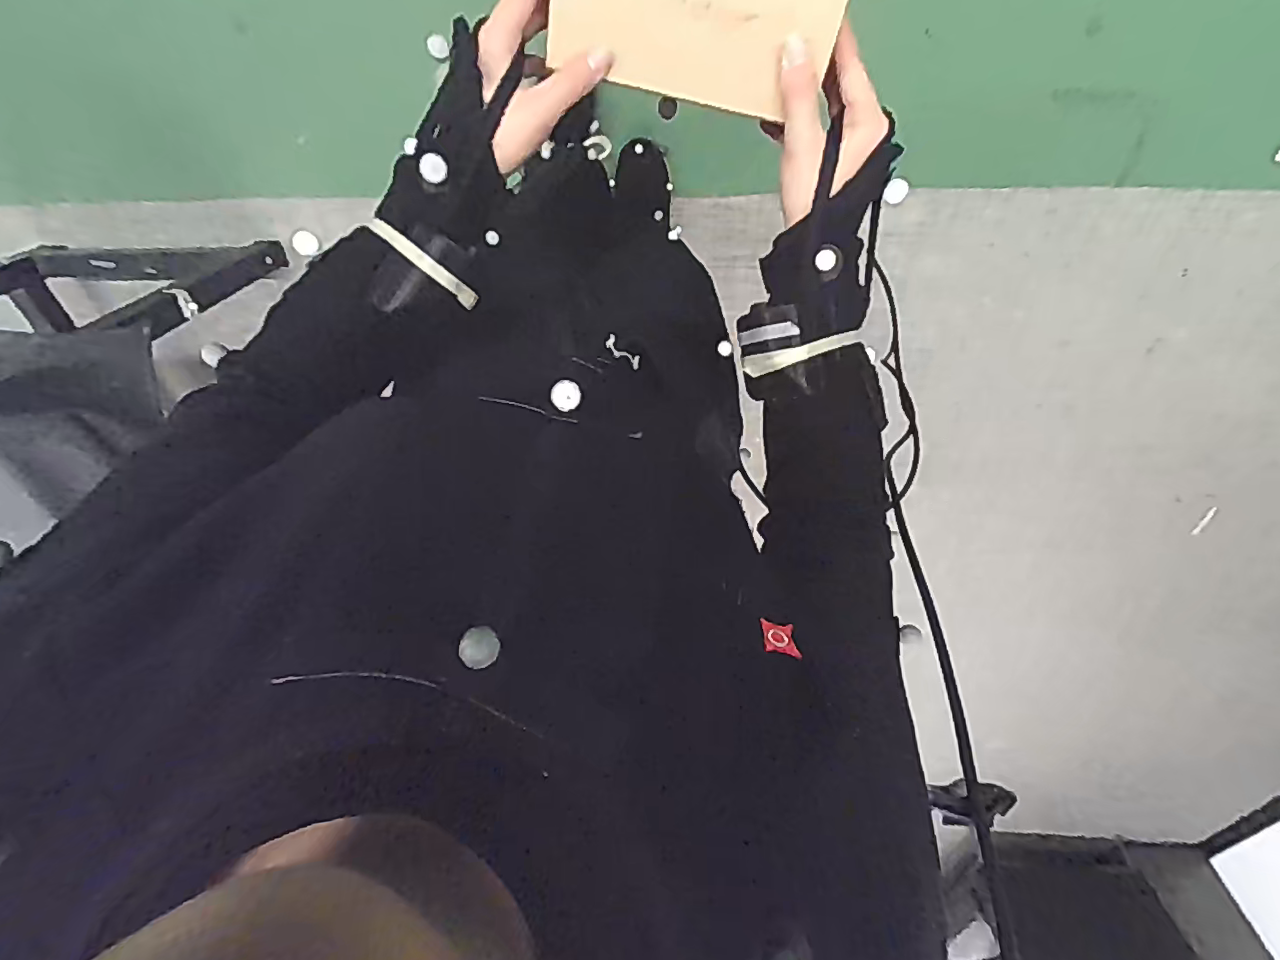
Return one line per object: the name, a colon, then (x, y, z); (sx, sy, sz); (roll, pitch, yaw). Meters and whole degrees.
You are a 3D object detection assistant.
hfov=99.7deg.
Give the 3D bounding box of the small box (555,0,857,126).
small box: (0.052, -0.348, 0.340); (0.168, 0.176, 0.179); (13, 127, -3)
